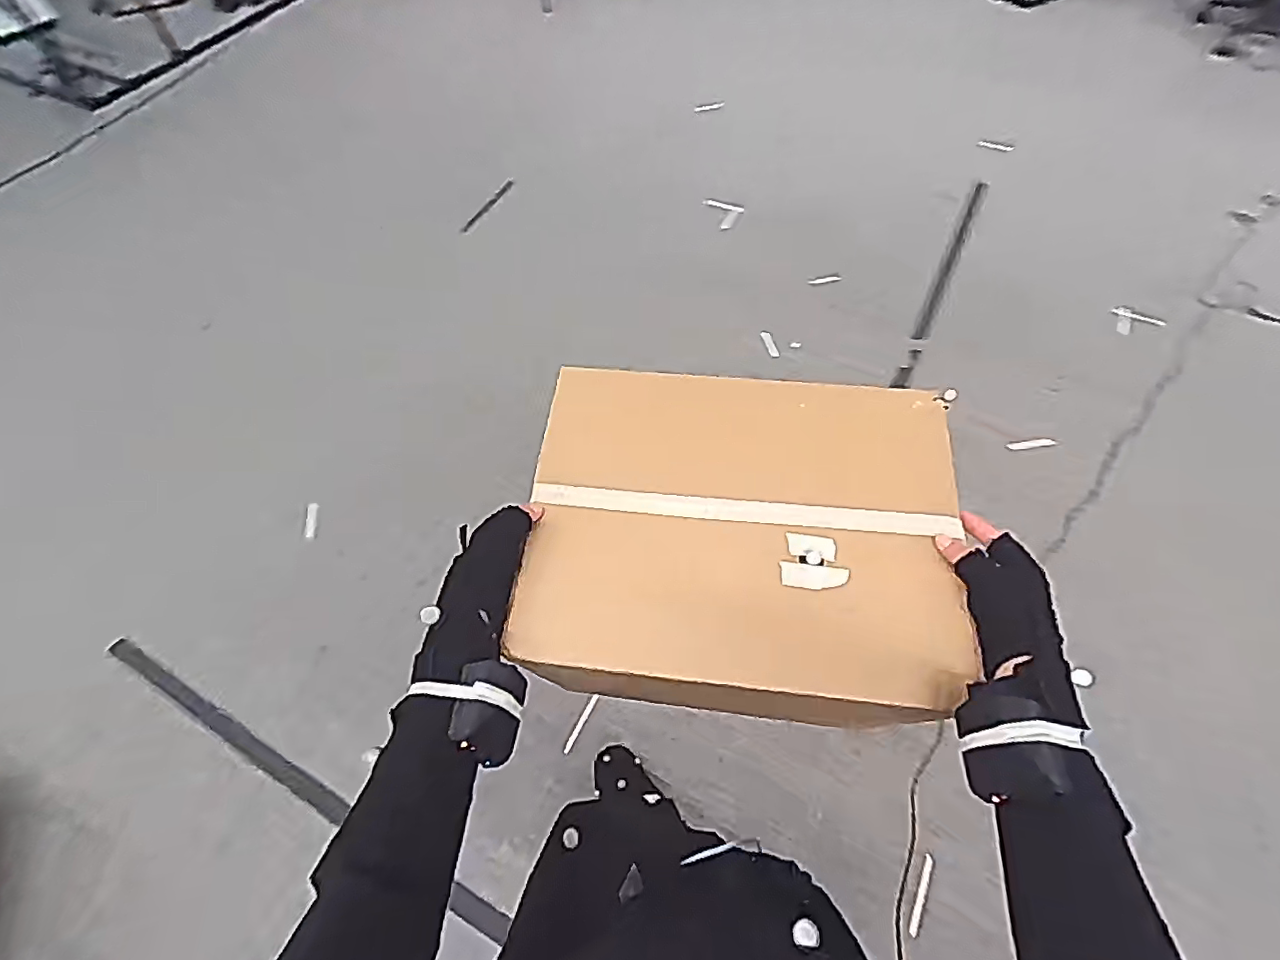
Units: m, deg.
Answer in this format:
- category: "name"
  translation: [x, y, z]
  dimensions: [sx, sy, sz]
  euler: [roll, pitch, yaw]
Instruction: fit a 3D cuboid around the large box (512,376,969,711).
- category: "large box"
  translation: [0.098, 0.095, 0.664]
  dimensions: [0.408, 0.320, 0.320]
  euler: [4, 65, 5]
